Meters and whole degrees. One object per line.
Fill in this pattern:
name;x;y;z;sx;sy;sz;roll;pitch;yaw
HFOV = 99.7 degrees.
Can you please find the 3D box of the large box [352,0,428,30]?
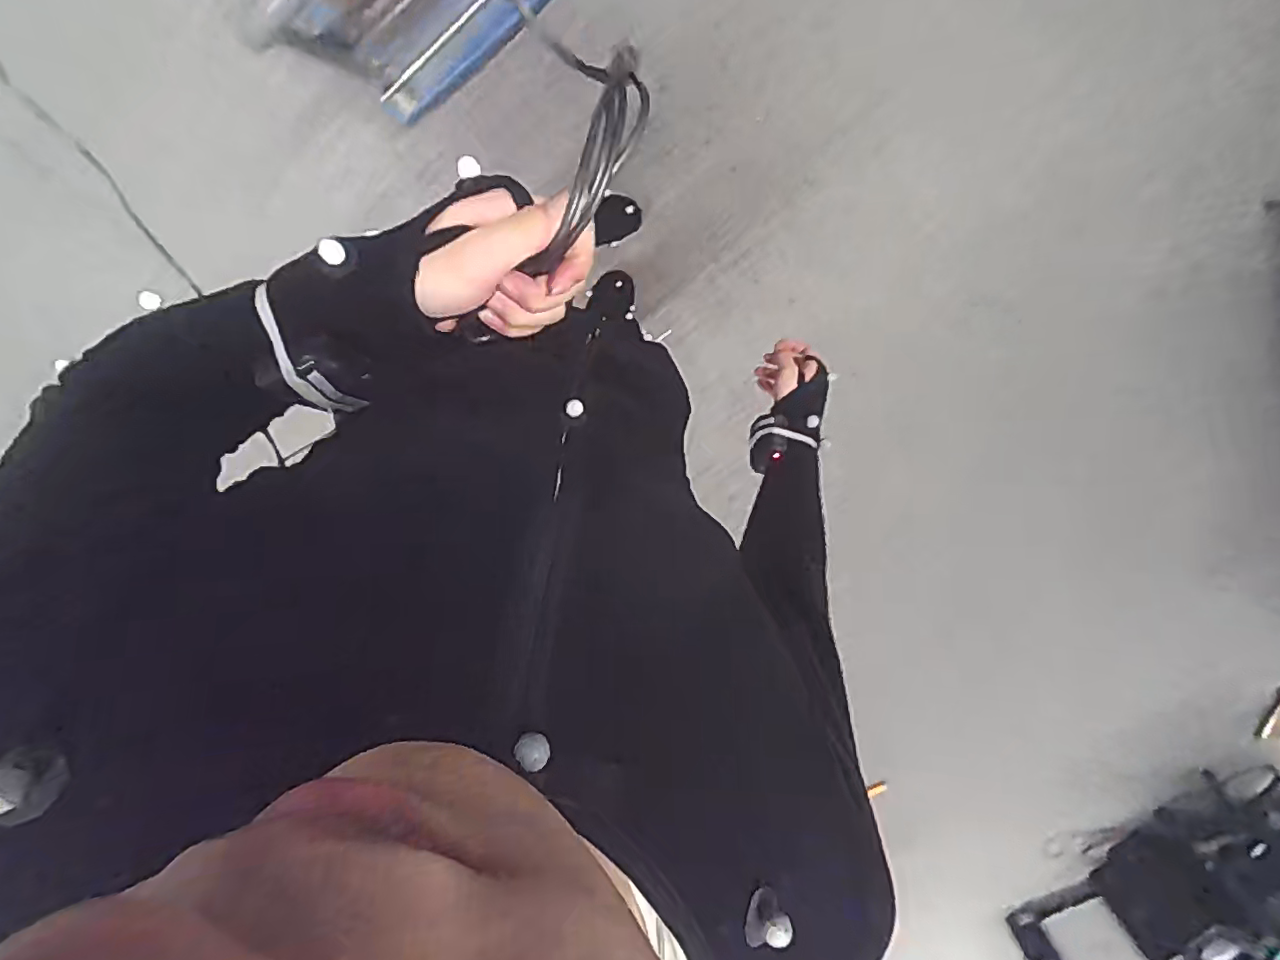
large box;-0.451;-1.008;0.797;0.320;0.320;0.408;-32;117;12
